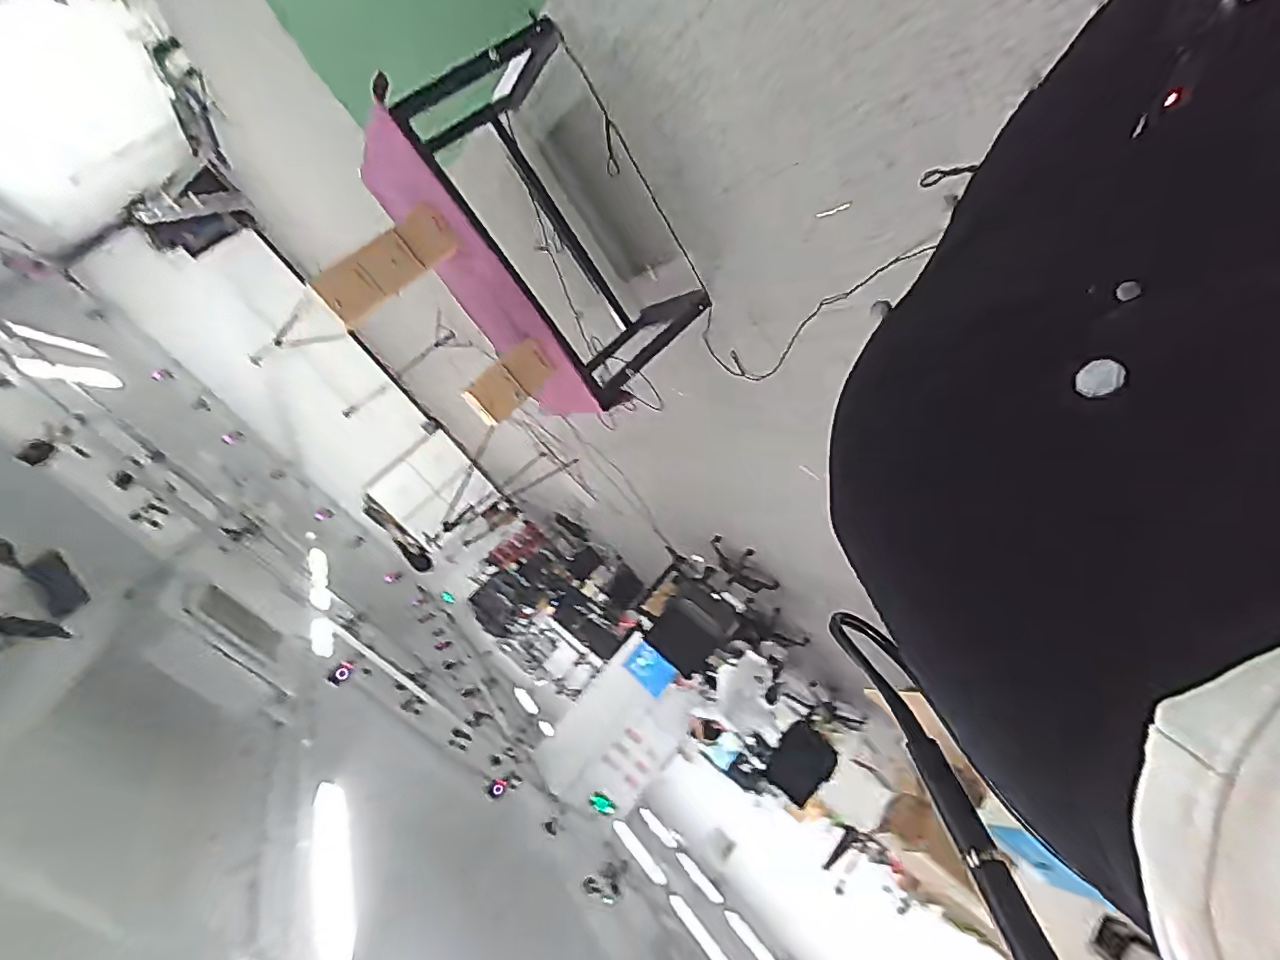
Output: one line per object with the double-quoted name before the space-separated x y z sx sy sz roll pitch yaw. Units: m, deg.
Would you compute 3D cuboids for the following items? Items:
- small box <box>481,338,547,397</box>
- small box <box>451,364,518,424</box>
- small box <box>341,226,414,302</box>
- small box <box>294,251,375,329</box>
"small box" -0.498 -0.448 2.159 0.168 0.176 0.179 53 159 -25
"small box" -0.600 -0.334 2.100 0.168 0.176 0.179 53 161 -25
"small box" -0.906 -0.742 1.860 0.168 0.176 0.179 54 159 -26
"small box" -1.016 -0.633 1.806 0.168 0.176 0.179 52 160 -24
